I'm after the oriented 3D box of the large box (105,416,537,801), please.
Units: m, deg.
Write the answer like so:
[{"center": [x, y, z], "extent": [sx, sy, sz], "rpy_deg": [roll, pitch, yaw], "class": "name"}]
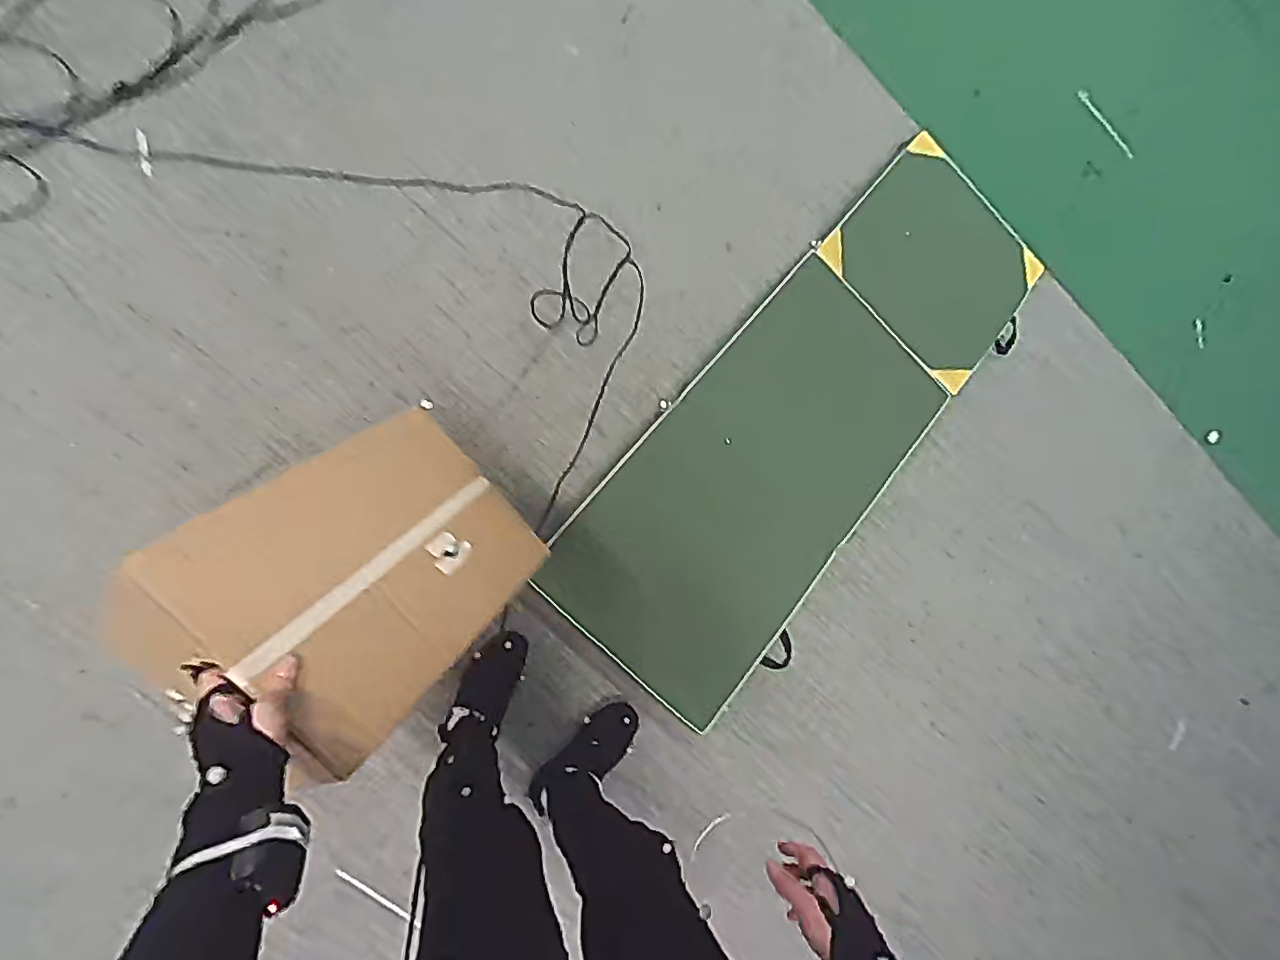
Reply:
[{"center": [-0.437, 0.178, 0.795], "extent": [0.320, 0.320, 0.408], "rpy_deg": [50, 38, -10], "class": "large box"}]
